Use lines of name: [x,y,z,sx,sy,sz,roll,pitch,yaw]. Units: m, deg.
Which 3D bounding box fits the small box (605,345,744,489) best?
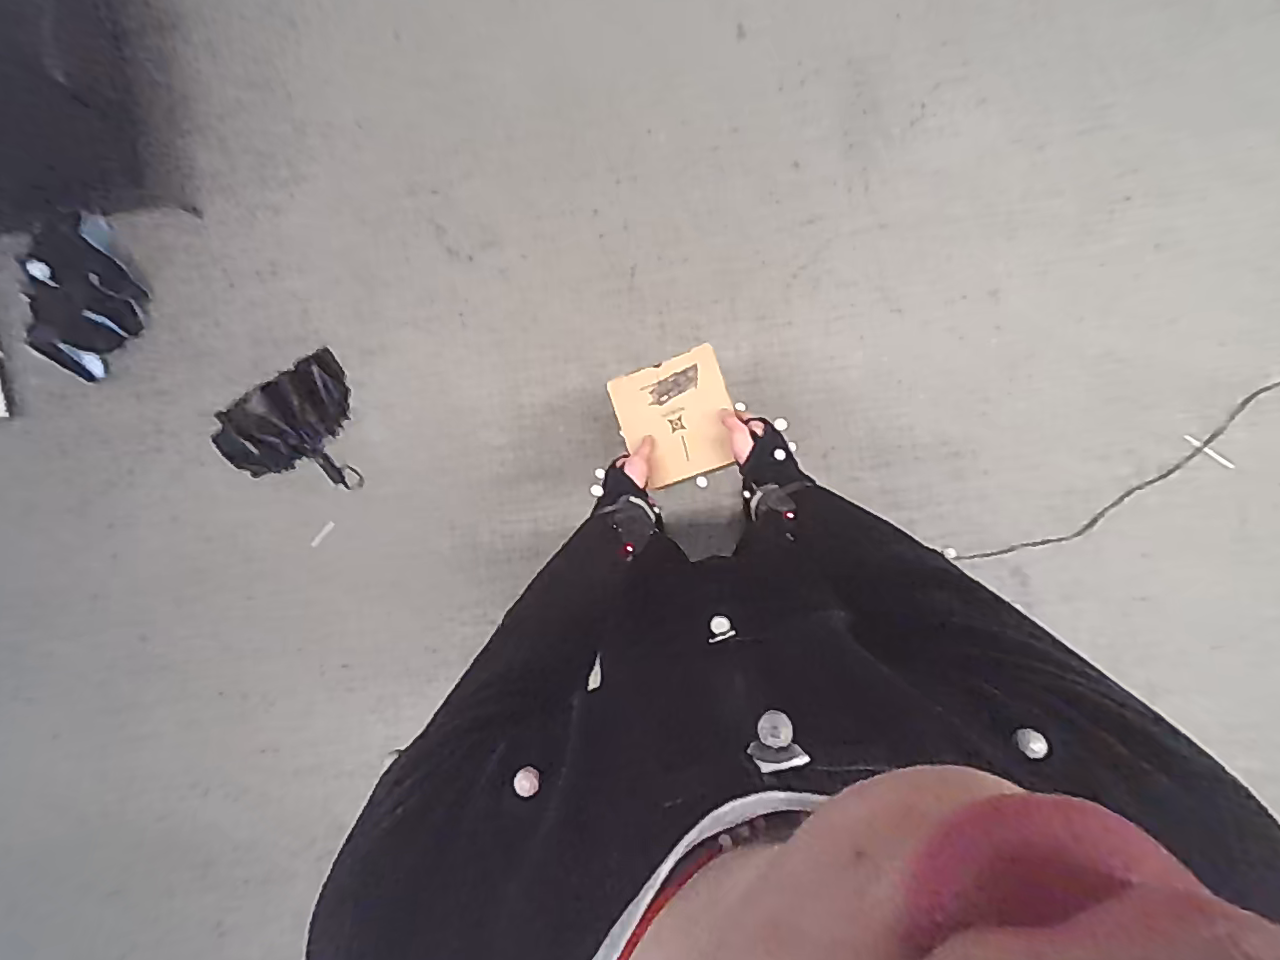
small box: [0.063,-0.091,0.866,0.168,0.176,0.179,-18,88,12]
